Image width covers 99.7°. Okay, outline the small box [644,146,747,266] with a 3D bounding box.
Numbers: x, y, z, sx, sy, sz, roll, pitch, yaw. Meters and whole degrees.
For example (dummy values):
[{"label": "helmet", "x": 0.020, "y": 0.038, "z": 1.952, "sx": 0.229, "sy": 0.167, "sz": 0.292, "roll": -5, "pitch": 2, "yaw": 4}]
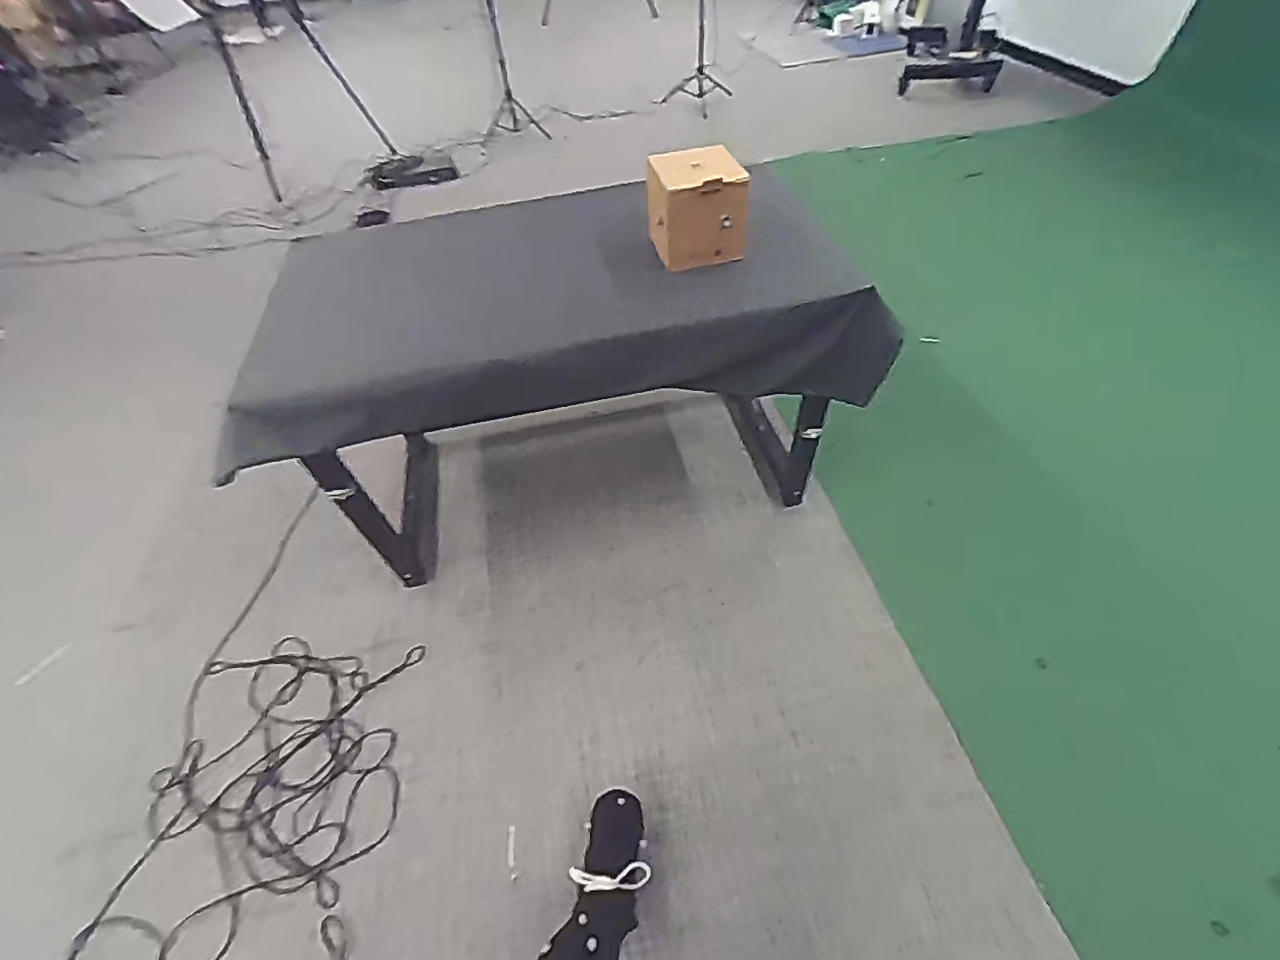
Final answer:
[{"label": "small box", "x": 0.111, "y": -0.559, "z": 1.121, "sx": 0.168, "sy": 0.176, "sz": 0.179, "roll": -12, "pitch": 50, "yaw": -7}]
